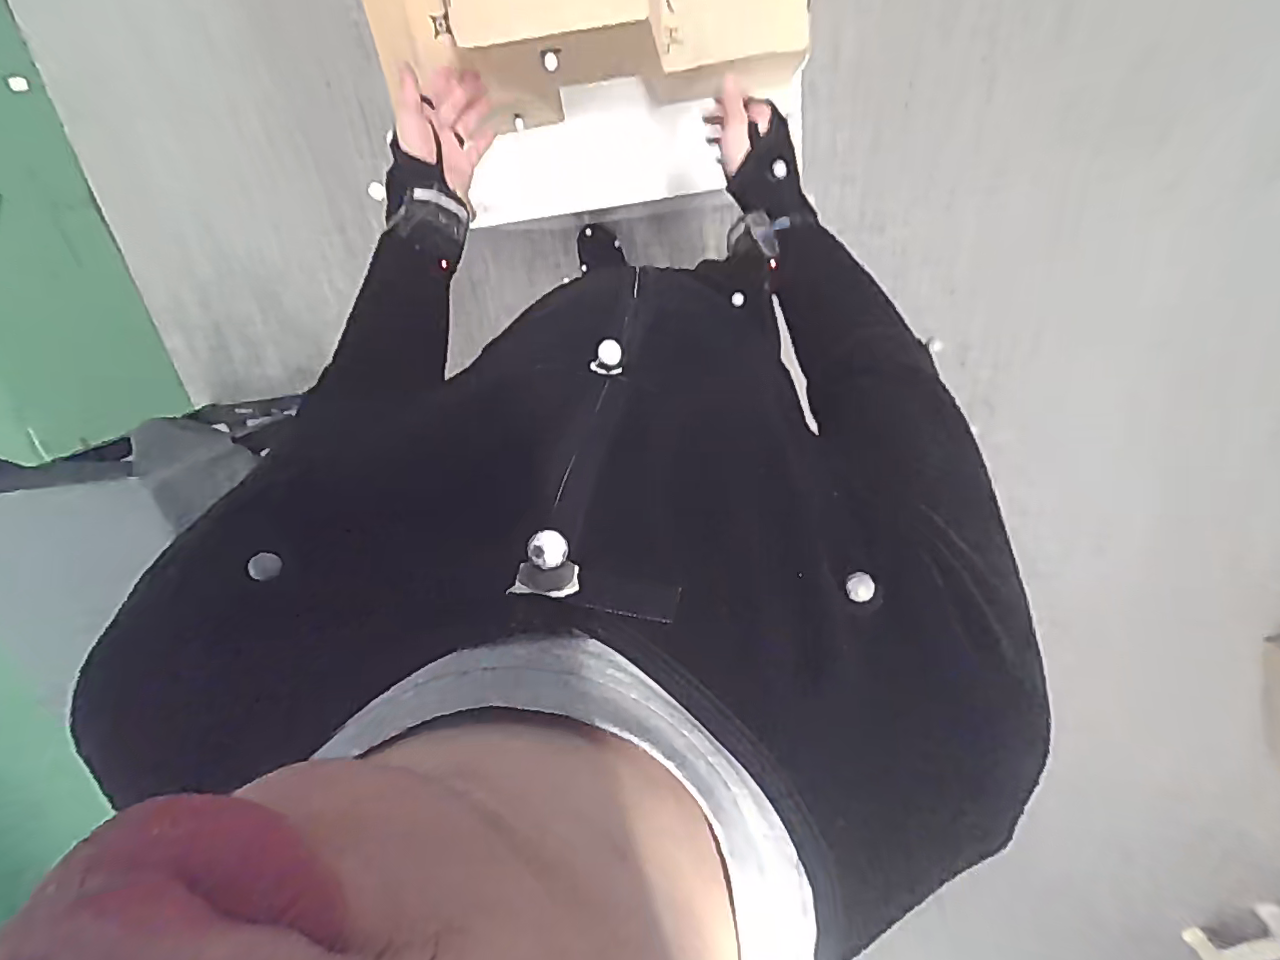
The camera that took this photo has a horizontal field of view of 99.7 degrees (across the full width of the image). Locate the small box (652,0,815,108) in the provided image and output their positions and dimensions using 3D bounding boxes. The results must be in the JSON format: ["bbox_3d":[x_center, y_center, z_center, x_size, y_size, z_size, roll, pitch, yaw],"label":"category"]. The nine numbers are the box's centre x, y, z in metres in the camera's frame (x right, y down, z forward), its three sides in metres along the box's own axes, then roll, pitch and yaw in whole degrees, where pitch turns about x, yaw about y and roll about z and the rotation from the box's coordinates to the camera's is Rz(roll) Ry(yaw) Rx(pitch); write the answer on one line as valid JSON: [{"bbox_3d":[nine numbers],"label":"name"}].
[{"bbox_3d":[0.097,-0.556,0.628,0.179,0.176,0.168,-4,113,7],"label":"small box"}]

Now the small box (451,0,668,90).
[{"bbox_3d":[-0.069,-0.482,0.492,0.179,0.176,0.168,-4,113,6],"label":"small box"}]

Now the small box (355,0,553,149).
[{"bbox_3d":[-0.213,-0.526,0.662,0.179,0.176,0.168,-7,111,7],"label":"small box"}]
